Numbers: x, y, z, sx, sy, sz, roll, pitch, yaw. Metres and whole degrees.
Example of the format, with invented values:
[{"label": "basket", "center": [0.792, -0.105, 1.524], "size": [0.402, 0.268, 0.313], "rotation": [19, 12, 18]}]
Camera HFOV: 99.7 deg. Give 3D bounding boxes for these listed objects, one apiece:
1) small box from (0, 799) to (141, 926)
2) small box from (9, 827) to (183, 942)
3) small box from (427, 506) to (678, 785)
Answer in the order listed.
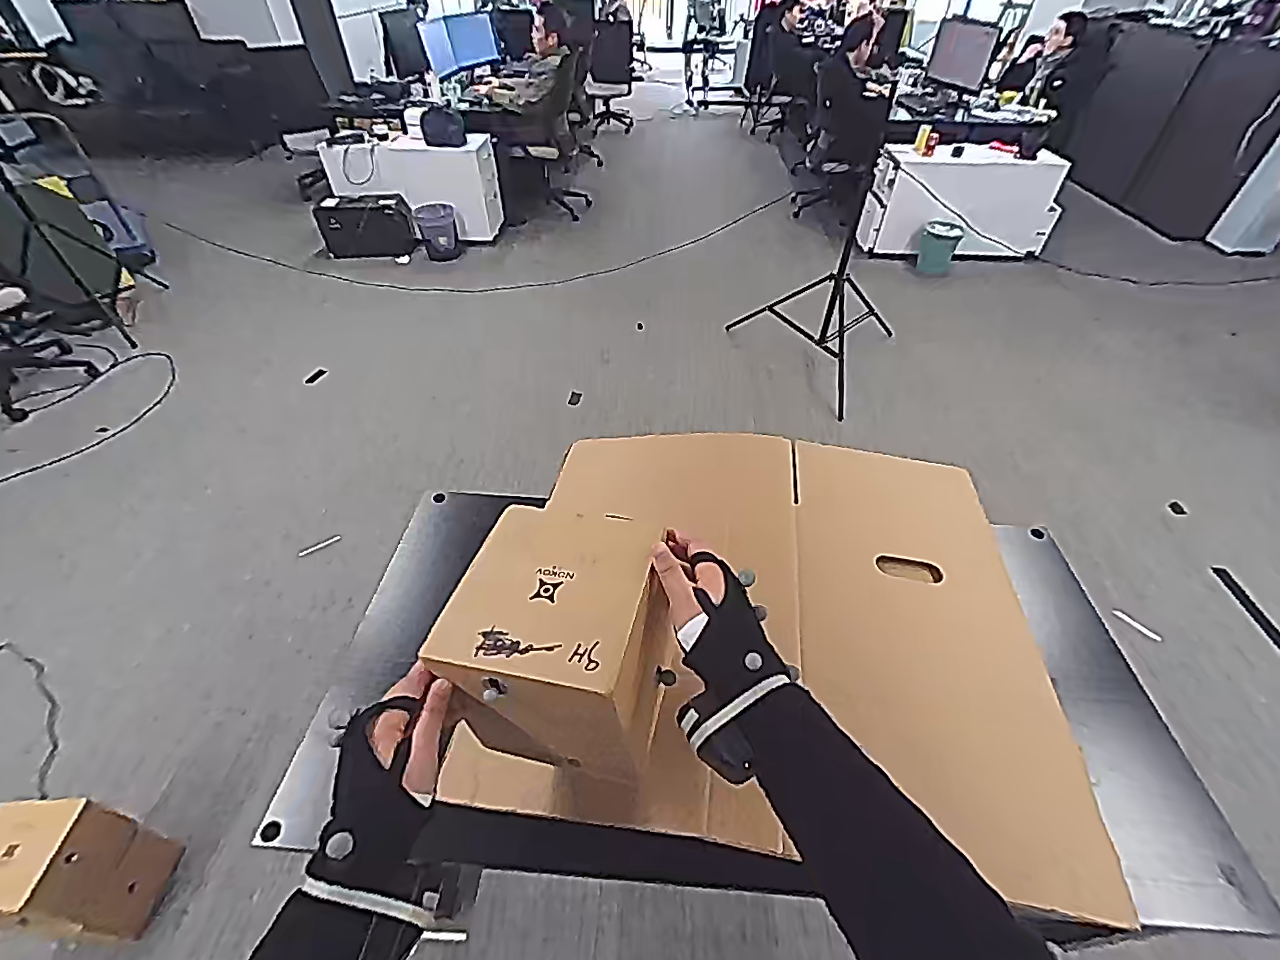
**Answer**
[{"label": "small box", "center": [-1.136, 0.742, 1.045], "size": [0.168, 0.176, 0.179], "rotation": [-1, 43, -3]}, {"label": "small box", "center": [-1.135, 0.863, 1.154], "size": [0.168, 0.176, 0.179], "rotation": [0, 45, 0]}, {"label": "small box", "center": [-0.061, 0.150, 0.515], "size": [0.168, 0.176, 0.179], "rotation": [5, 40, 17]}]
